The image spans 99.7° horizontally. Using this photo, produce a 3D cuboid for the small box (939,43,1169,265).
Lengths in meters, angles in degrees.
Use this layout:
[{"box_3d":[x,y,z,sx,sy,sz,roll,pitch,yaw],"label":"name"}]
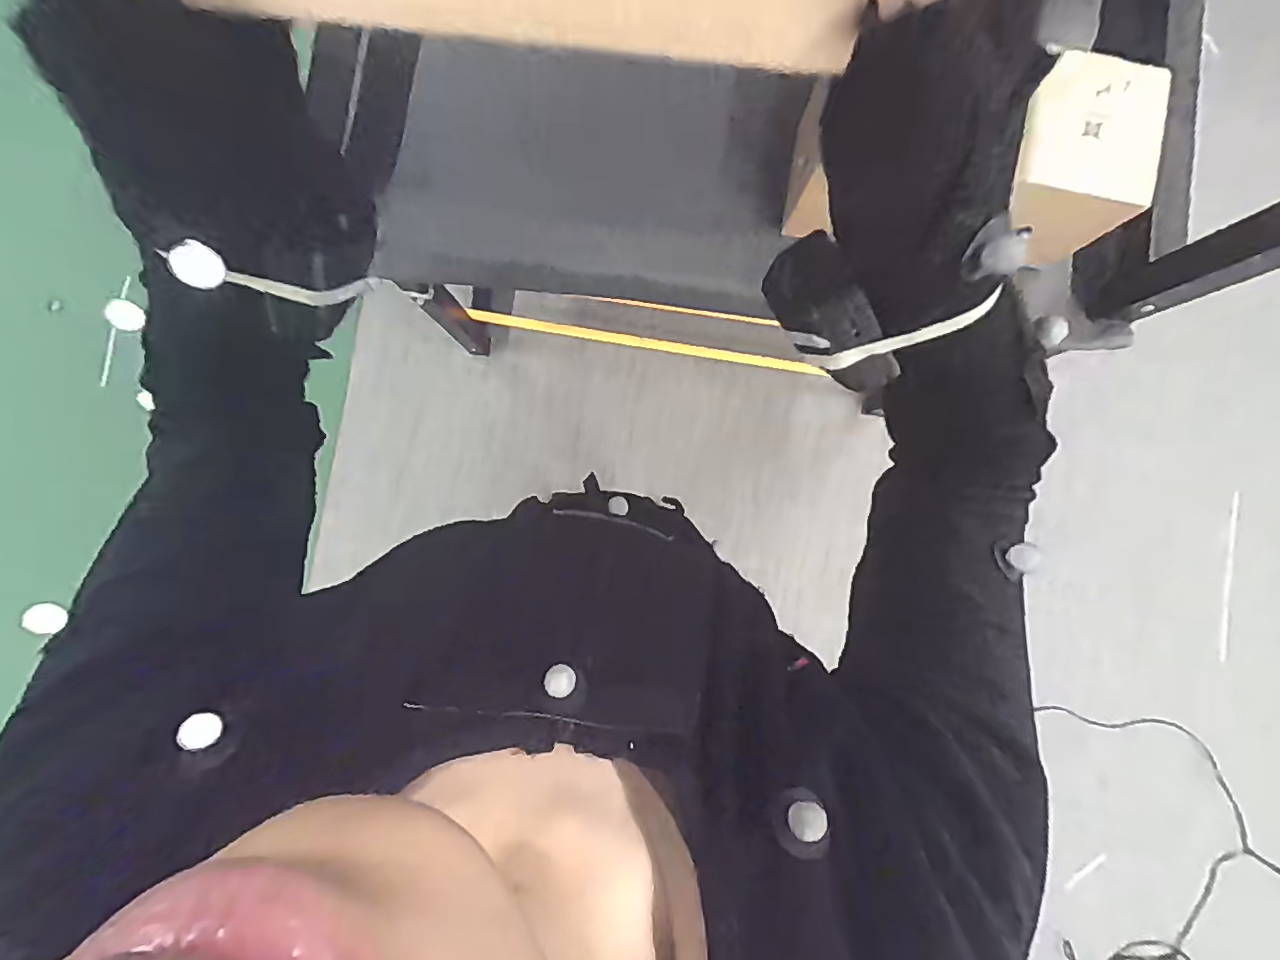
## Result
[{"box_3d":[0.529,-0.413,0.716,0.168,0.176,0.179,12,86,0],"label":"small box"}]
